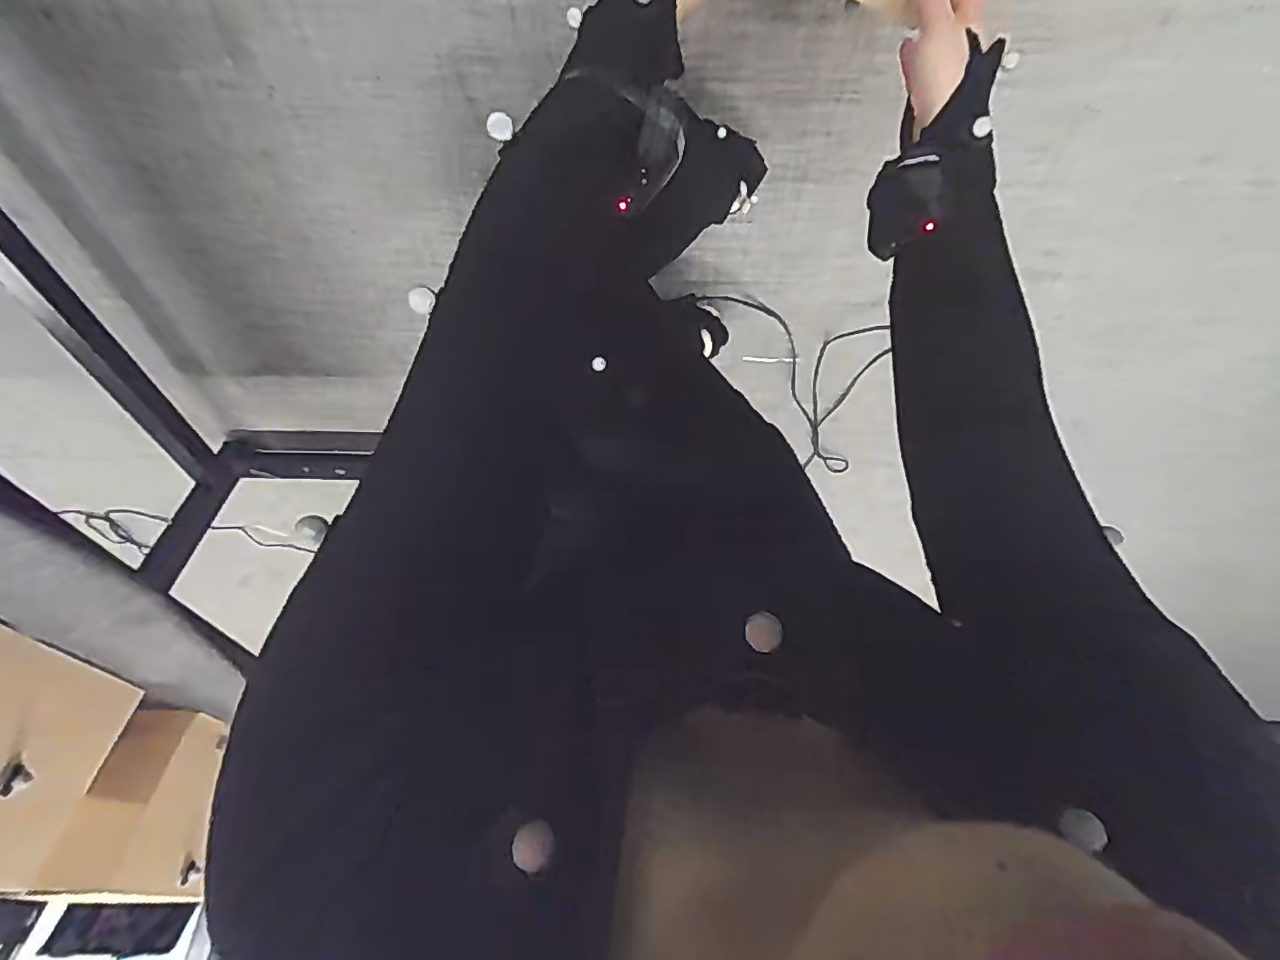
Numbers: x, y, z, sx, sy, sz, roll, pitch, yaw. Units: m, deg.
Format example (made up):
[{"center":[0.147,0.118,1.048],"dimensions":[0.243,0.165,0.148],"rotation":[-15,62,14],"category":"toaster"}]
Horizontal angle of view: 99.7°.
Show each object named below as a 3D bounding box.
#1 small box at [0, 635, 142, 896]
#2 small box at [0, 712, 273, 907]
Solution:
[{"center":[-0.571,0.216,0.425],"dimensions":[0.168,0.176,0.179],"rotation":[4,142,-1],"category":"small box"},{"center":[-0.571,0.369,0.611],"dimensions":[0.179,0.176,0.168],"rotation":[1,141,2],"category":"small box"}]
